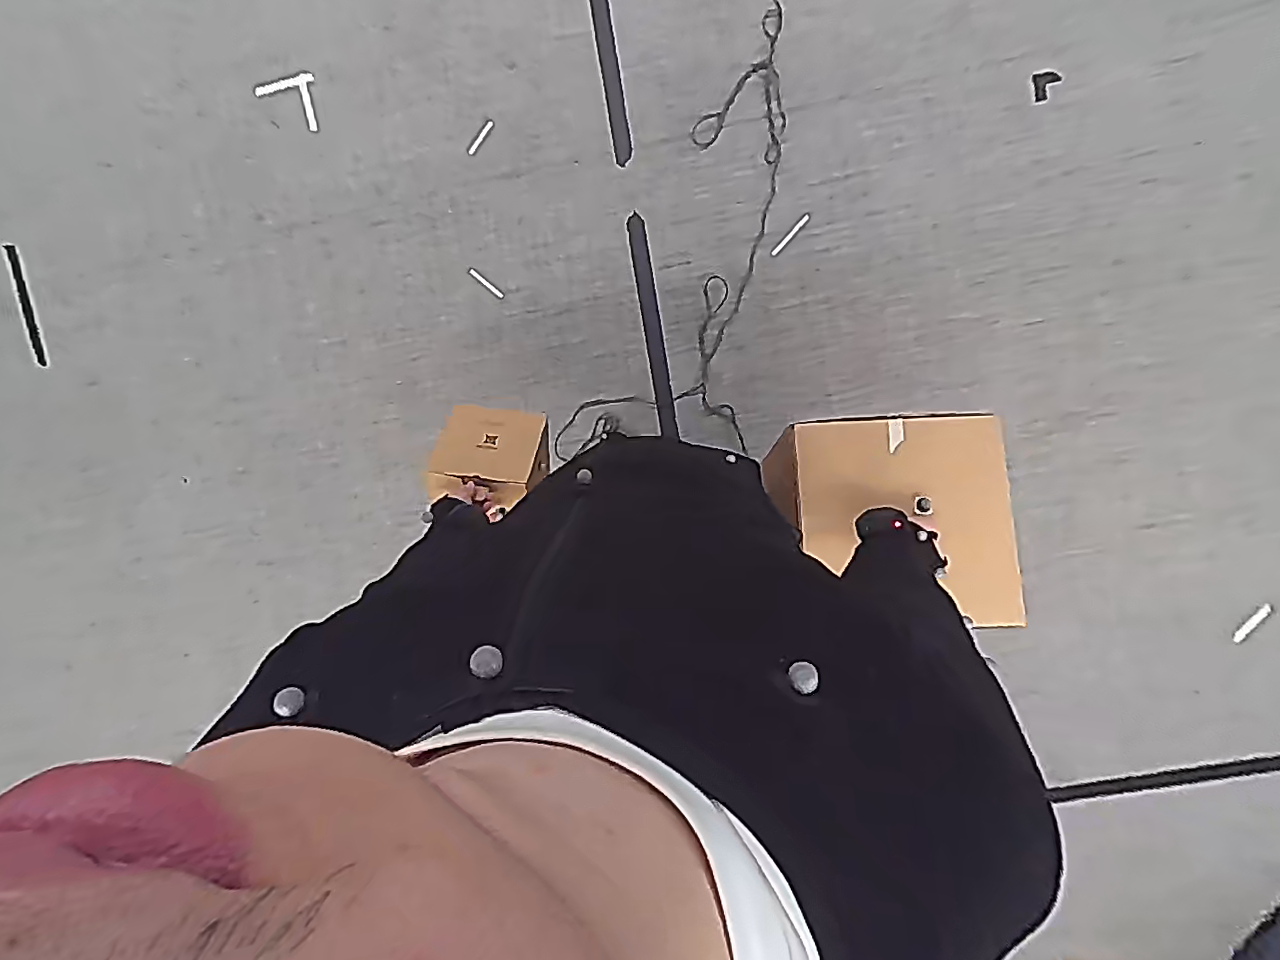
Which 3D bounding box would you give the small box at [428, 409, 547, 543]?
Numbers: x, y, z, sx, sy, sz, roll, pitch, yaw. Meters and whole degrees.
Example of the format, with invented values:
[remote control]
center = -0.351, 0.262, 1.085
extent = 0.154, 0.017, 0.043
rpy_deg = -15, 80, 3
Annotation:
[small box]
center = -0.265, -0.004, 0.991
extent = 0.168, 0.179, 0.176
rpy_deg = 7, 135, -1
